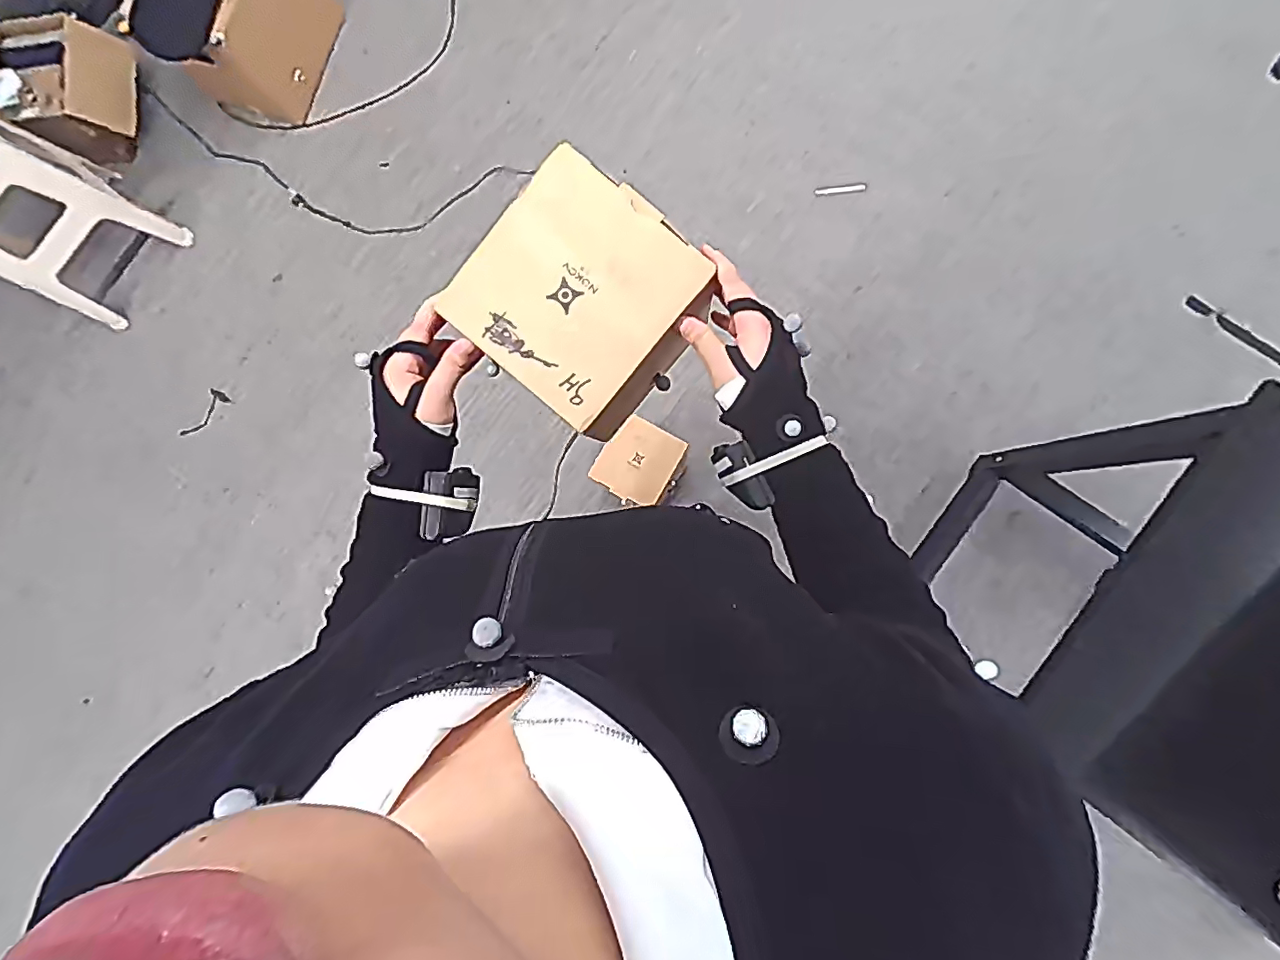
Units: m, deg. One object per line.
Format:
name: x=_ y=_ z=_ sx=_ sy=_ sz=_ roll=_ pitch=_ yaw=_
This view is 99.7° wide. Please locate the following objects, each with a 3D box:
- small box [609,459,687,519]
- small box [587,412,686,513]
small box: x=0.010 y=-0.012 z=1.440 sx=0.168 sy=0.176 sz=0.179 roll=33 pitch=90 yaw=7
small box: x=-0.002 y=-0.031 z=1.280 sx=0.168 sy=0.176 sz=0.179 roll=29 pitch=87 yaw=5
